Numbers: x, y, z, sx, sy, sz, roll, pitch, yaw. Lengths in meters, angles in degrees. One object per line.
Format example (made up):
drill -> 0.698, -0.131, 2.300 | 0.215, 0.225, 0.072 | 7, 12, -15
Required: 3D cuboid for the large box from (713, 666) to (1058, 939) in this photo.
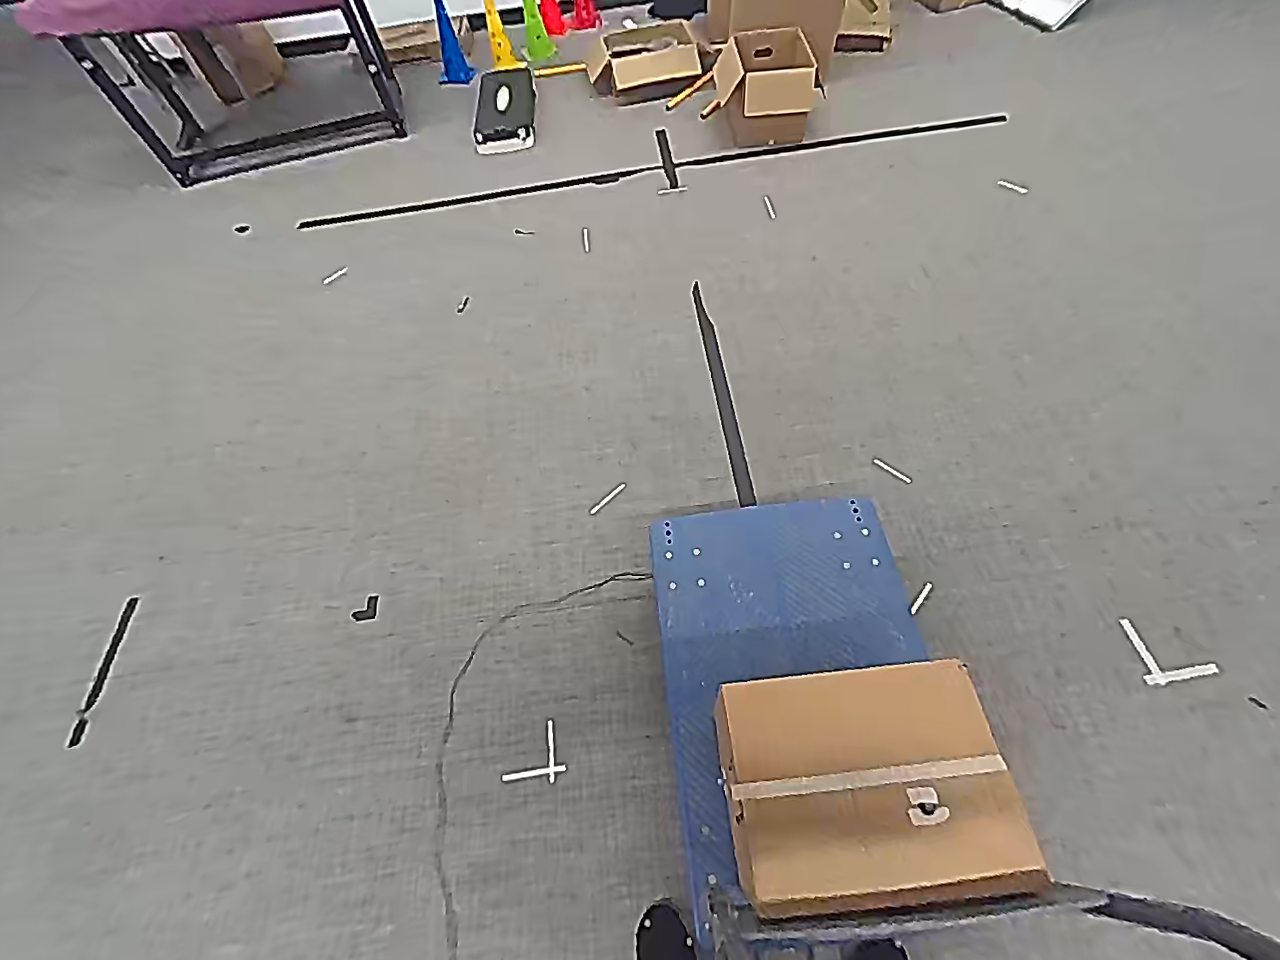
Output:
large box -> 0.356, 0.535, 0.923 | 0.408, 0.320, 0.320 | -7, 59, 0
